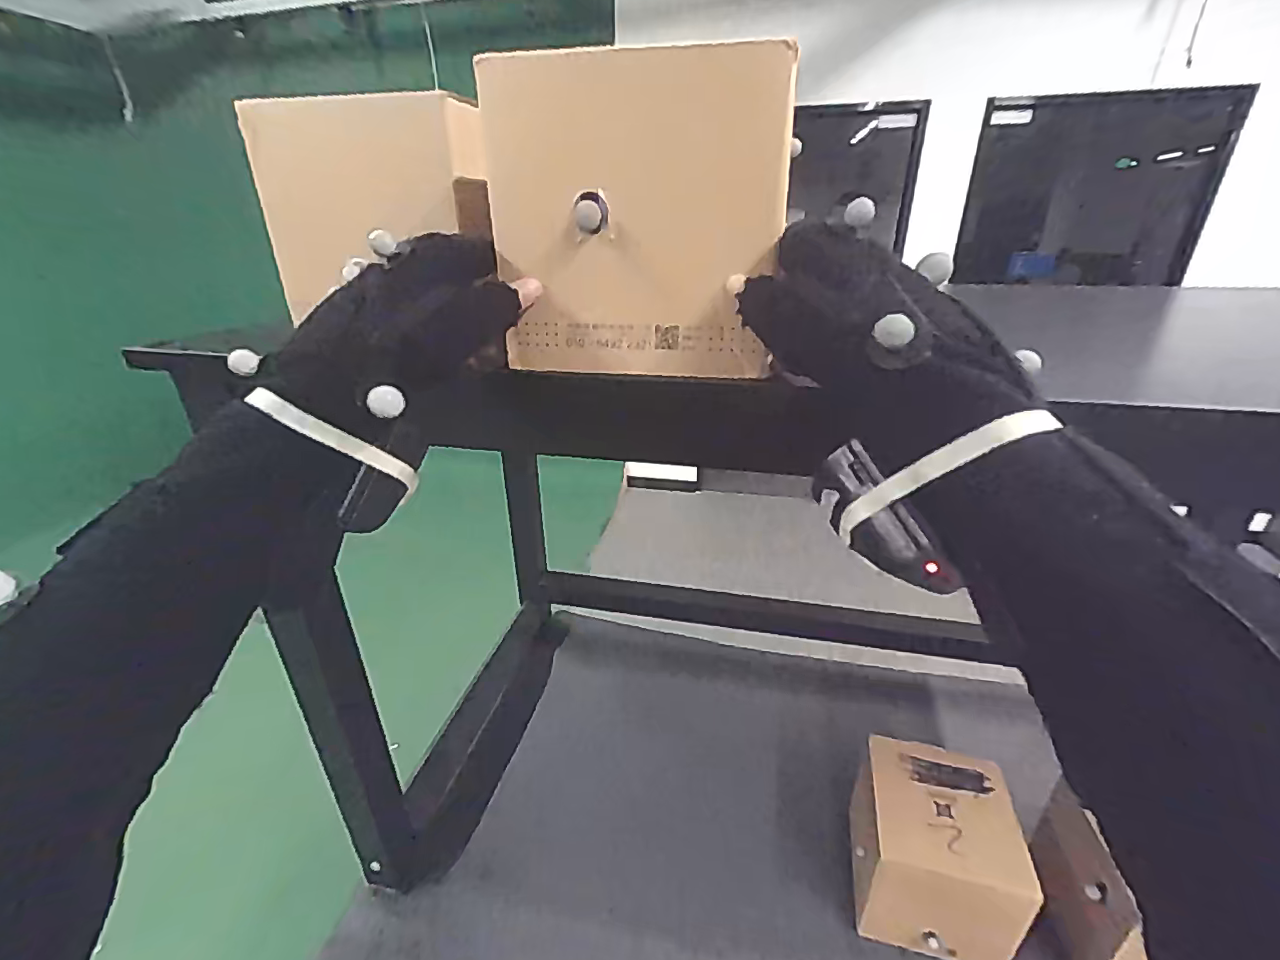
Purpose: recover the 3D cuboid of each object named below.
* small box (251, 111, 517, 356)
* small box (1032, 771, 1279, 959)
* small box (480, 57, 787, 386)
[{"bbox_3d":[-0.190,-0.217,0.488,0.168,0.176,0.179,4,27,11],"label":"small box"},{"bbox_3d":[0.618,0.498,0.653,0.168,0.176,0.179,5,25,11],"label":"small box"},{"bbox_3d":[0.010,-0.168,0.384,0.168,0.176,0.179,4,25,9],"label":"small box"}]
